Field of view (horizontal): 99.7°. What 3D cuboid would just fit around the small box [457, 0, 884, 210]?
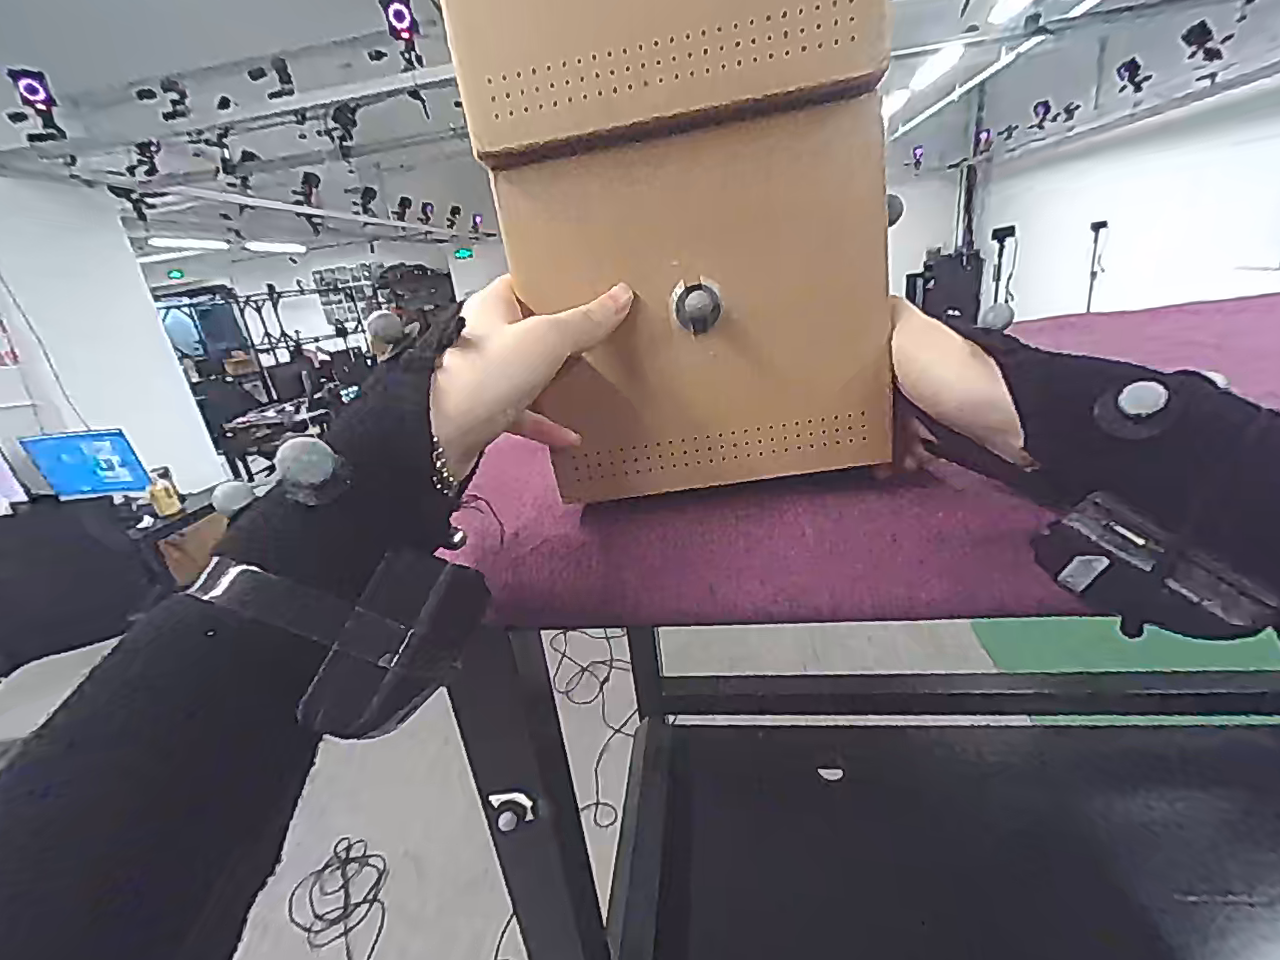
[{"bbox_3d":[0.010,-0.249,0.277,0.179,0.176,0.168,-6,17,6],"label":"small box"}]
